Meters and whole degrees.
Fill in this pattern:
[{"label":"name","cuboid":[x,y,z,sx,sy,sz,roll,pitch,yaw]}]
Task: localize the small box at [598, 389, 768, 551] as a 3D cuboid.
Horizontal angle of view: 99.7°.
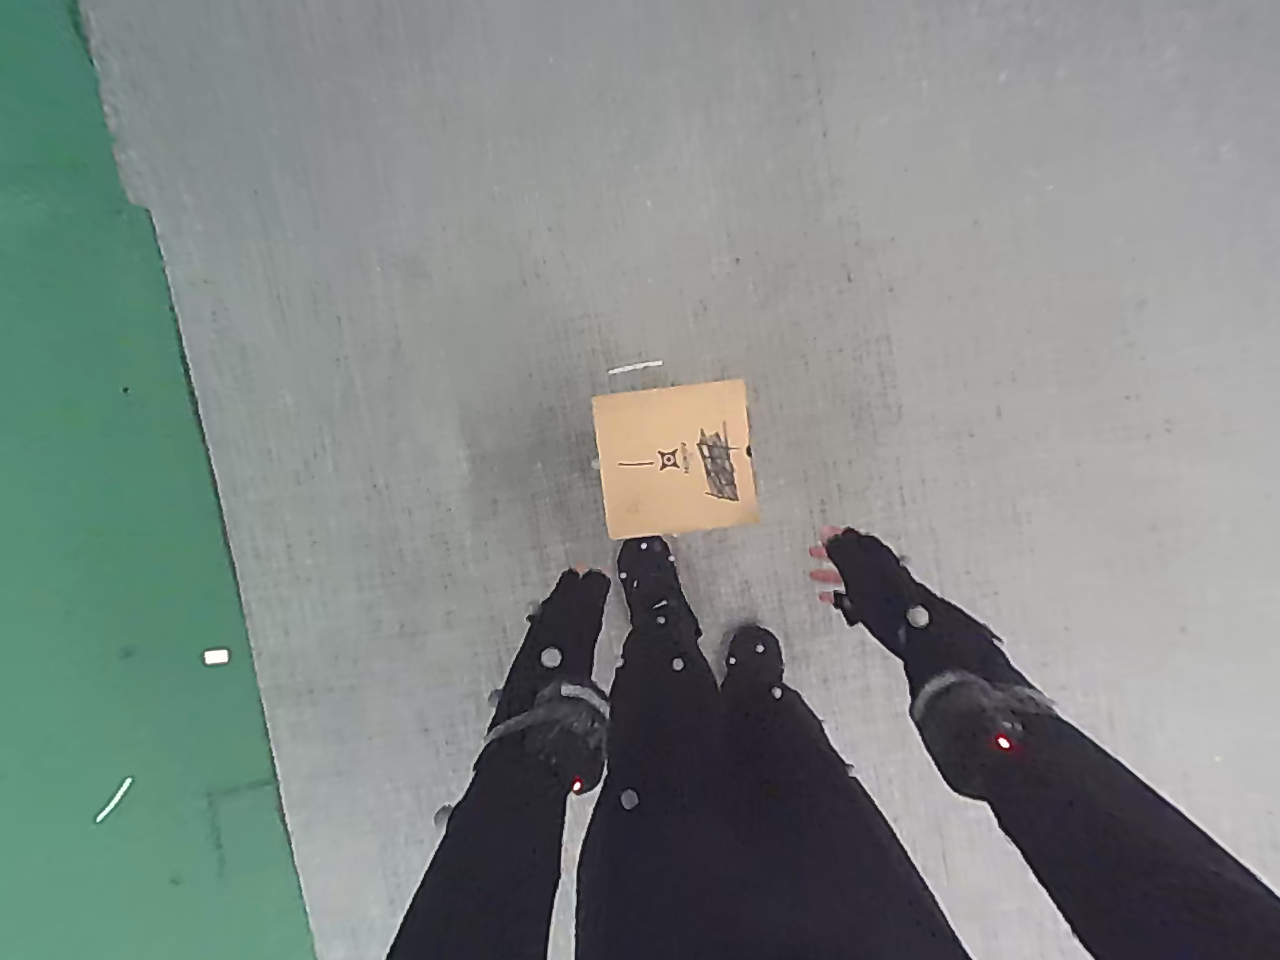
[{"label":"small box","cuboid":[0.047,-0.015,0.694,0.179,0.176,0.168,-10,92,-1]}]
